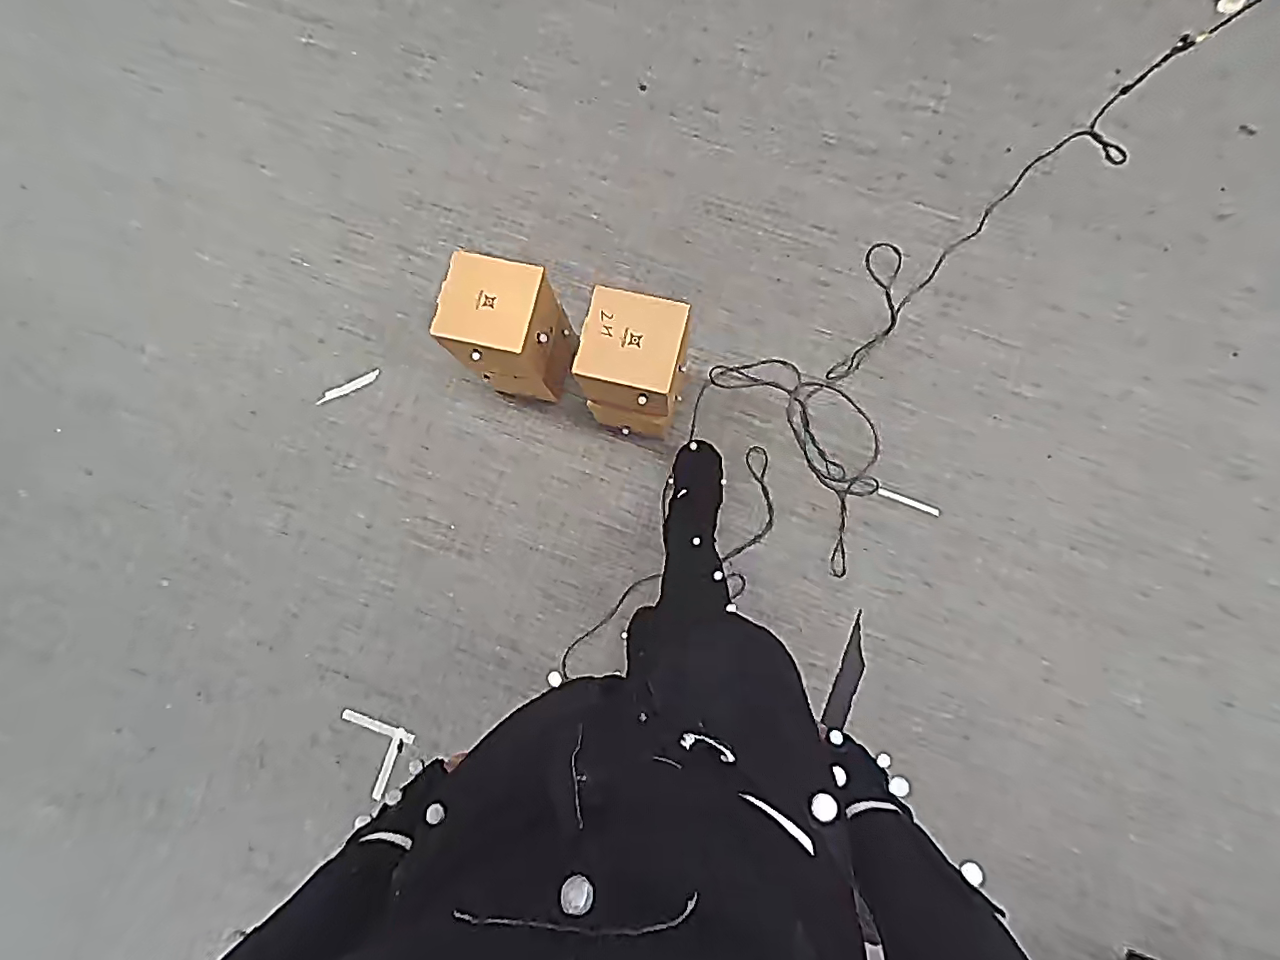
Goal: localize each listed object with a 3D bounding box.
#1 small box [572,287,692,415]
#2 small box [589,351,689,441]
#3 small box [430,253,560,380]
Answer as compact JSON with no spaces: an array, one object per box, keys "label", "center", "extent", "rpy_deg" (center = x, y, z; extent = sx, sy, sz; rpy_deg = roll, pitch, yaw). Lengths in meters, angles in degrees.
[{"label":"small box","center":[-0.008,-0.230,1.007],"extent":[0.179,0.176,0.168],"rpy_deg":[14,83,6]},{"label":"small box","center":[0.001,-0.200,1.169],"extent":[0.168,0.176,0.179],"rpy_deg":[16,85,6]},{"label":"small box","center":[-0.265,-0.303,1.037],"extent":[0.179,0.176,0.168],"rpy_deg":[12,84,6]}]
